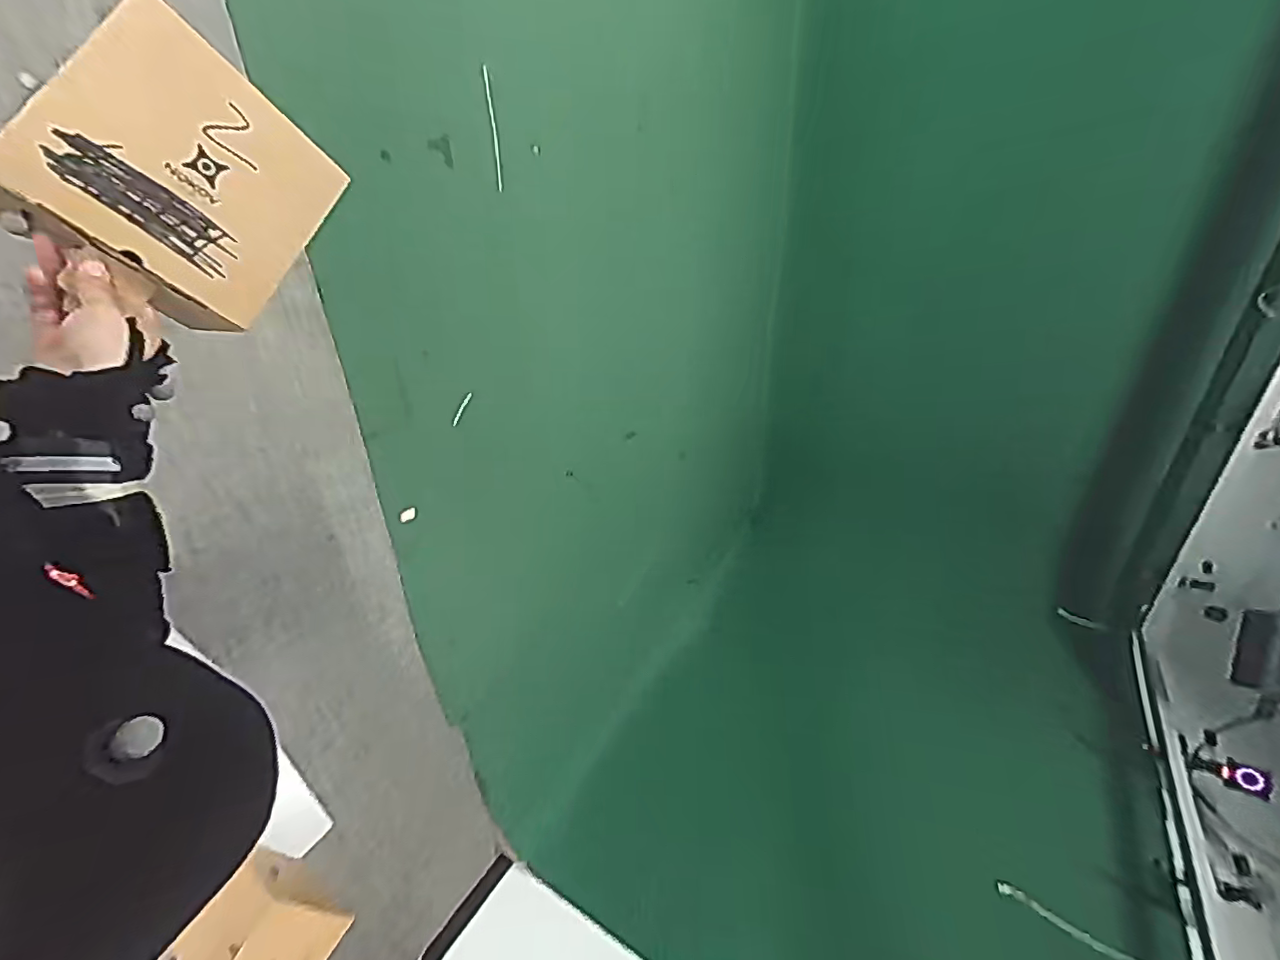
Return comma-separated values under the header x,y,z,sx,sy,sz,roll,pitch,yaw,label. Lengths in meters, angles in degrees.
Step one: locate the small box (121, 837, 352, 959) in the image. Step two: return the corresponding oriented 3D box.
x,y,z,sx,sy,sz,roll,pitch,yaw,label
-0.569,0.649,0.771,0.168,0.176,0.179,-54,145,-31,small box
